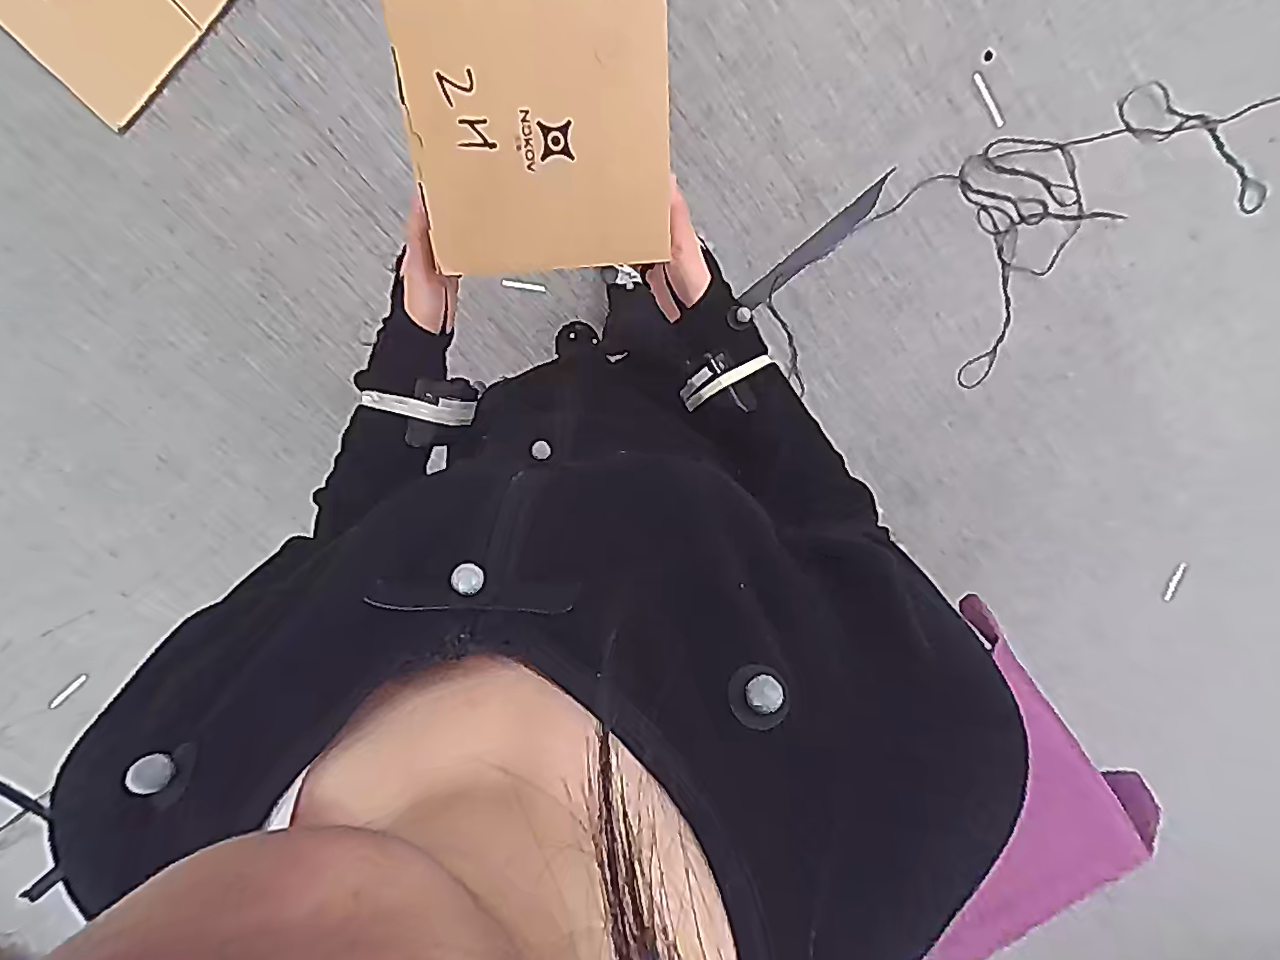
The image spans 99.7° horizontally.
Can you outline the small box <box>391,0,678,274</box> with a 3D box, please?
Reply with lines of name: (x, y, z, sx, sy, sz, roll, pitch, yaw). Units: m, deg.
small box: (-0.073, -0.265, 0.434, 0.179, 0.176, 0.168, -6, 117, -7)
